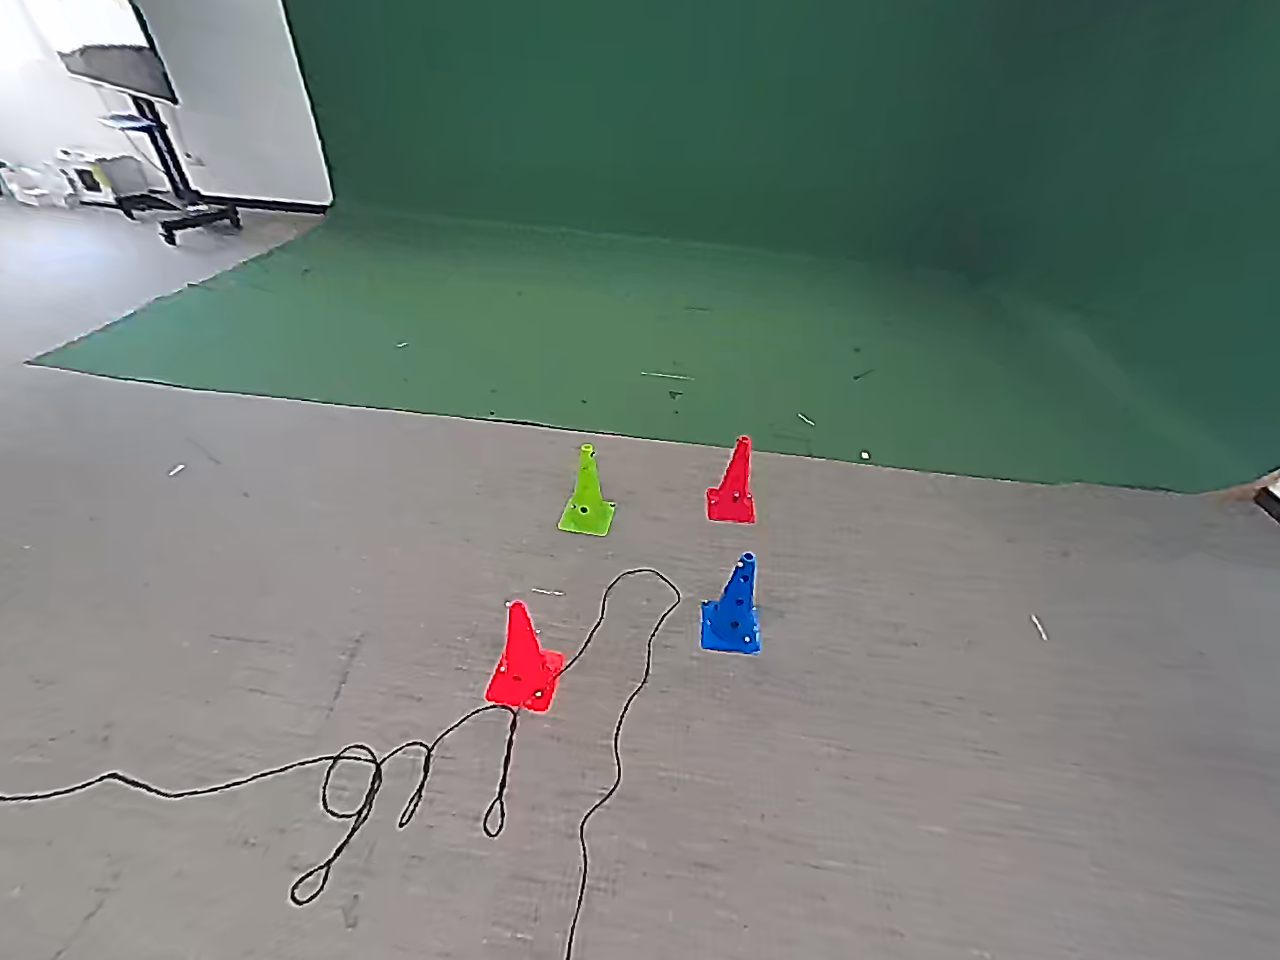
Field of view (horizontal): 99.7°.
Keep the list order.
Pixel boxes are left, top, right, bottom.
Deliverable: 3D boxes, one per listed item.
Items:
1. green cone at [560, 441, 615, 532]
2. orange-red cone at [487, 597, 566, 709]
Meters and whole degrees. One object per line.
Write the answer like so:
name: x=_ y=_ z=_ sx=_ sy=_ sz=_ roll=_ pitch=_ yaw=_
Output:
green cone: x=-0.205 y=0.001 z=2.106 sx=0.200 sy=0.368 sz=0.202 roll=8 pitch=41 yaw=5
orange-red cone: x=-0.332 y=0.461 z=1.550 sx=0.198 sy=0.360 sz=0.199 roll=11 pitch=39 yaw=6
